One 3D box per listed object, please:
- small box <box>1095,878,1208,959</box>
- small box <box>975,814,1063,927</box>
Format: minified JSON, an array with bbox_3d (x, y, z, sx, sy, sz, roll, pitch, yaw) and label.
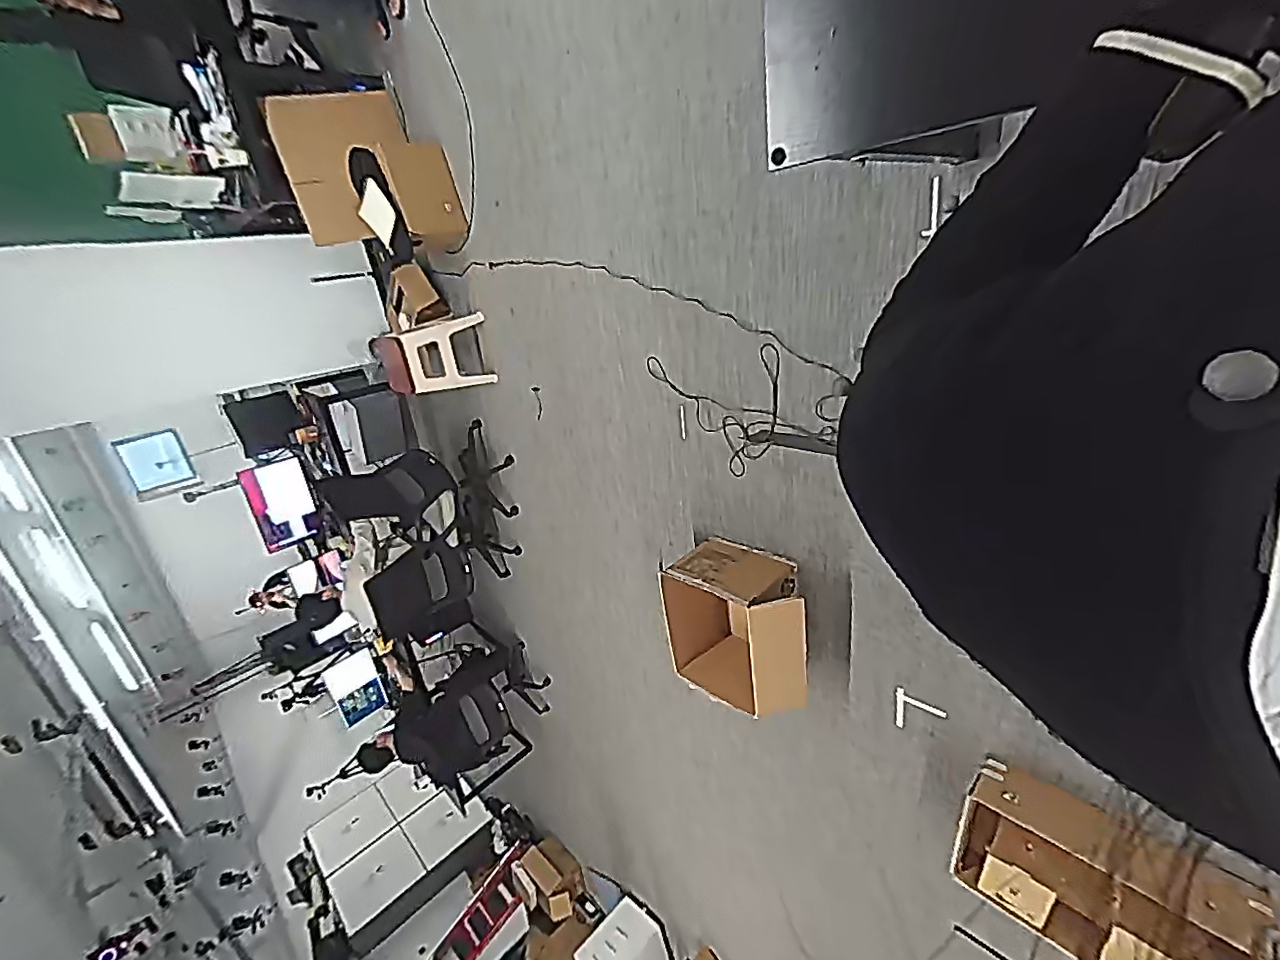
[{"bbox_3d":[1.326,1.198,1.400,0.179,0.176,0.168,19,121,44],"label":"small box"},{"bbox_3d":[1.125,1.145,1.602,0.168,0.176,0.179,20,123,41],"label":"small box"}]
